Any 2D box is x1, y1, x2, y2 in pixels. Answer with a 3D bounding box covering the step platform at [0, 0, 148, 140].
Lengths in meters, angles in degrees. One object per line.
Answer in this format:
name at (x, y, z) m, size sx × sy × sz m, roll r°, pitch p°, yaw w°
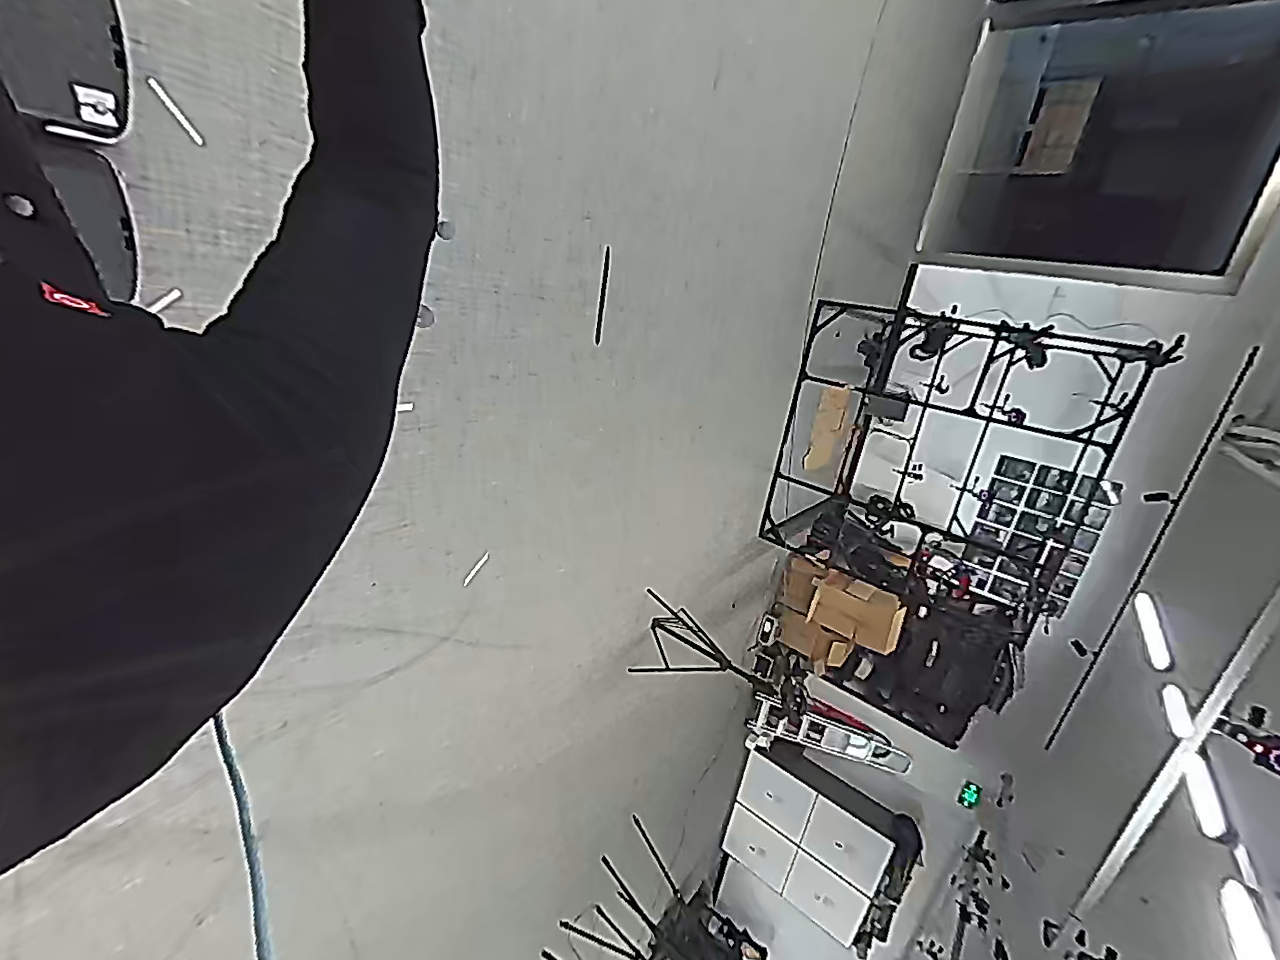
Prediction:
step platform at (-1.128, -0.711, 0.731) m, size 0.684 × 0.204 × 0.286 m, roll -19°, pitch 123°, yaw -51°
